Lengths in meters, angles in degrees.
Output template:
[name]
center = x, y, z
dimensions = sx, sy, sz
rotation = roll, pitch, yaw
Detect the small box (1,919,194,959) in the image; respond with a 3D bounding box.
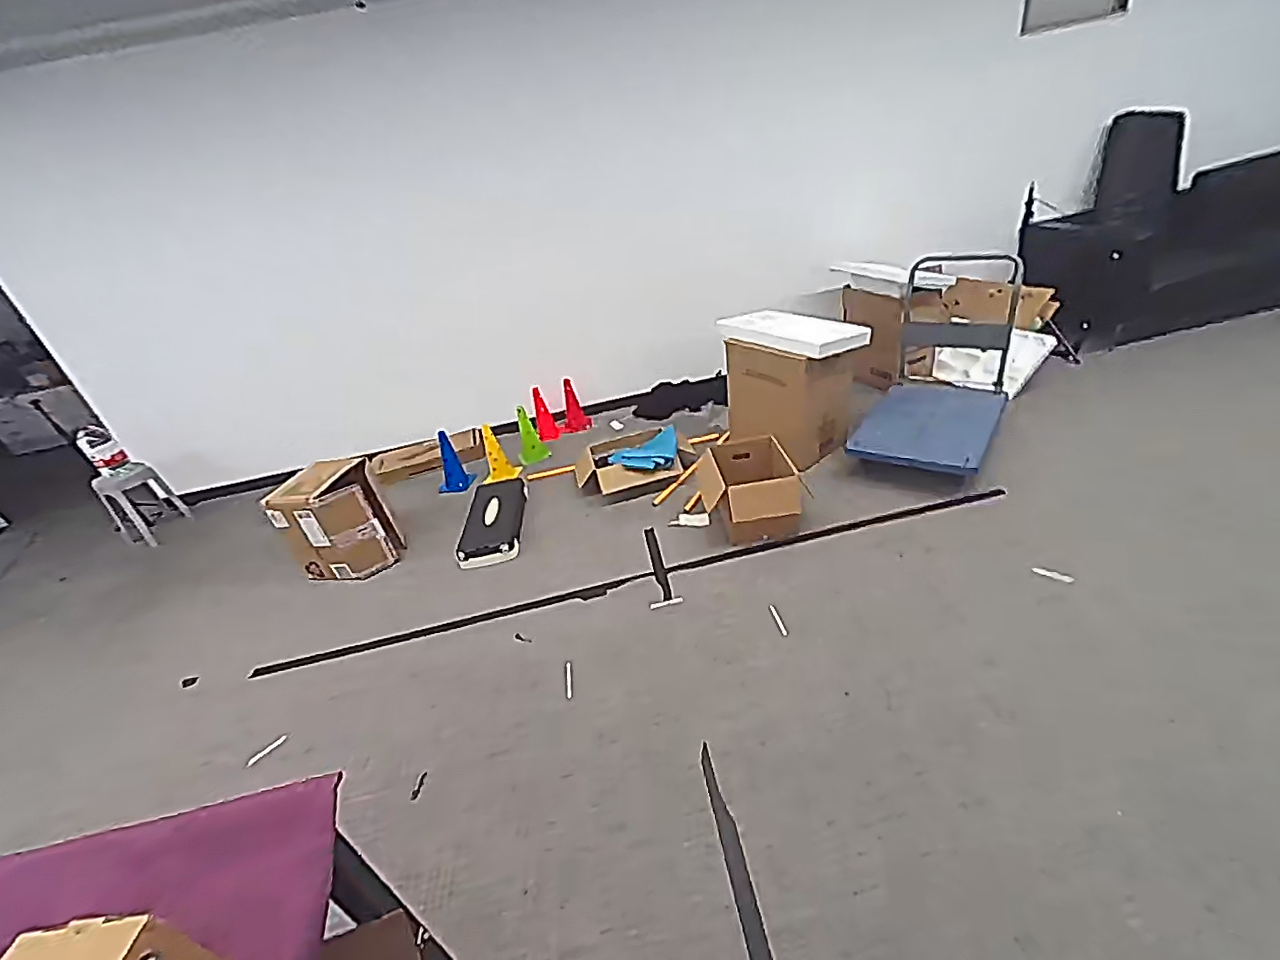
[small box]
center = -0.636, 0.639, 0.602
dimensions = 0.168, 0.176, 0.179
rotation = -10, 30, 2
